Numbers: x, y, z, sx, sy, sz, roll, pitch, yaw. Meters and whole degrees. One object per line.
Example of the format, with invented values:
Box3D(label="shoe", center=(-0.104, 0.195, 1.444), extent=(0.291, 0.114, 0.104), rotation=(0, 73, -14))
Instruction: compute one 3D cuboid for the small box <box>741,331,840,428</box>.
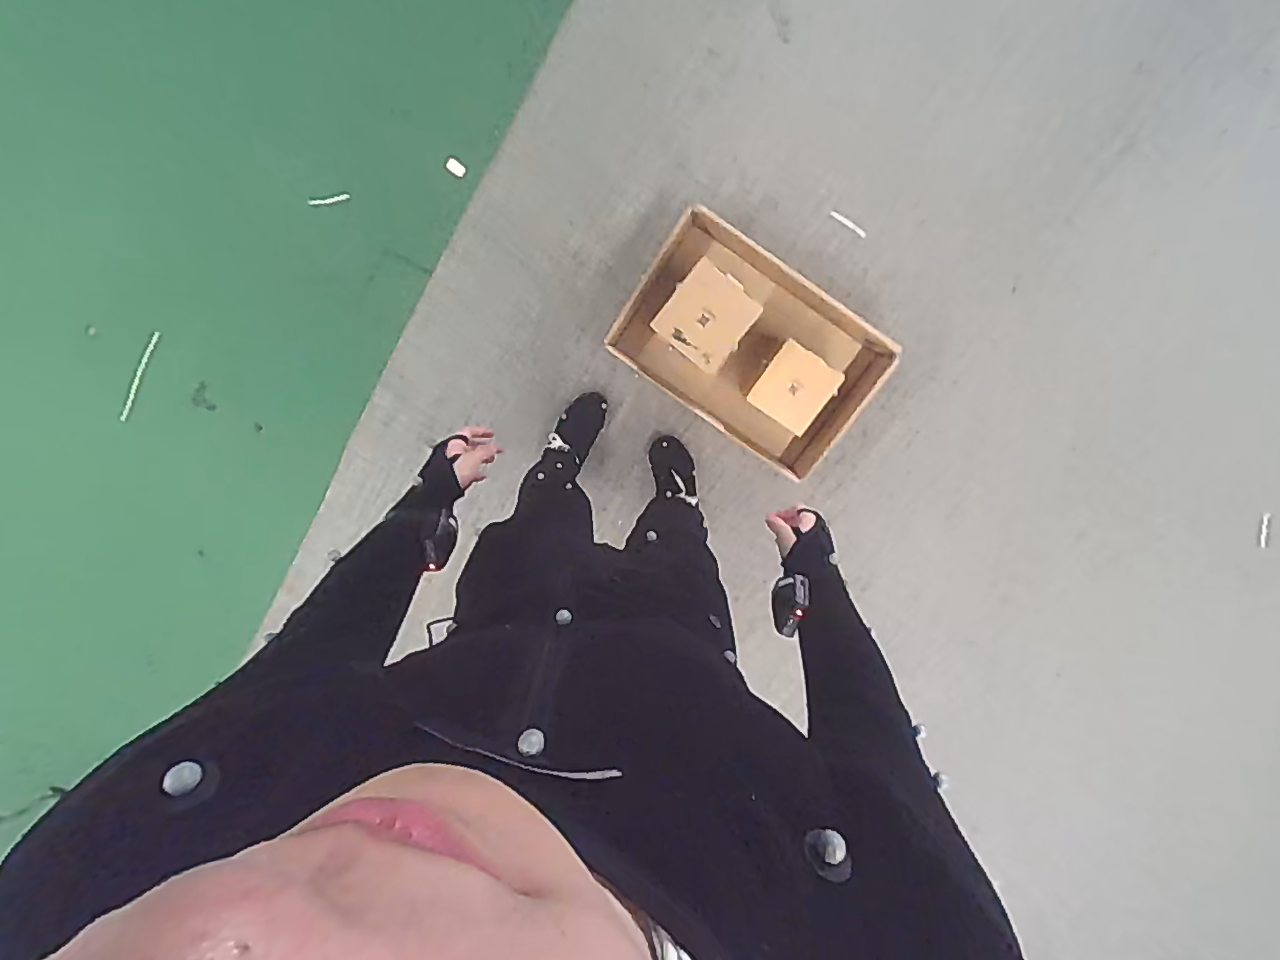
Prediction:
Box3D(label="small box", center=(0.372, -0.257, 1.374), extent=(0.168, 0.176, 0.179), rotation=(34, 103, -3))

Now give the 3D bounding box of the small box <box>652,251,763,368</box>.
Box3D(label="small box", center=(0.140, -0.369, 1.194), extent=(0.168, 0.176, 0.179), rotation=(39, 102, -6))
